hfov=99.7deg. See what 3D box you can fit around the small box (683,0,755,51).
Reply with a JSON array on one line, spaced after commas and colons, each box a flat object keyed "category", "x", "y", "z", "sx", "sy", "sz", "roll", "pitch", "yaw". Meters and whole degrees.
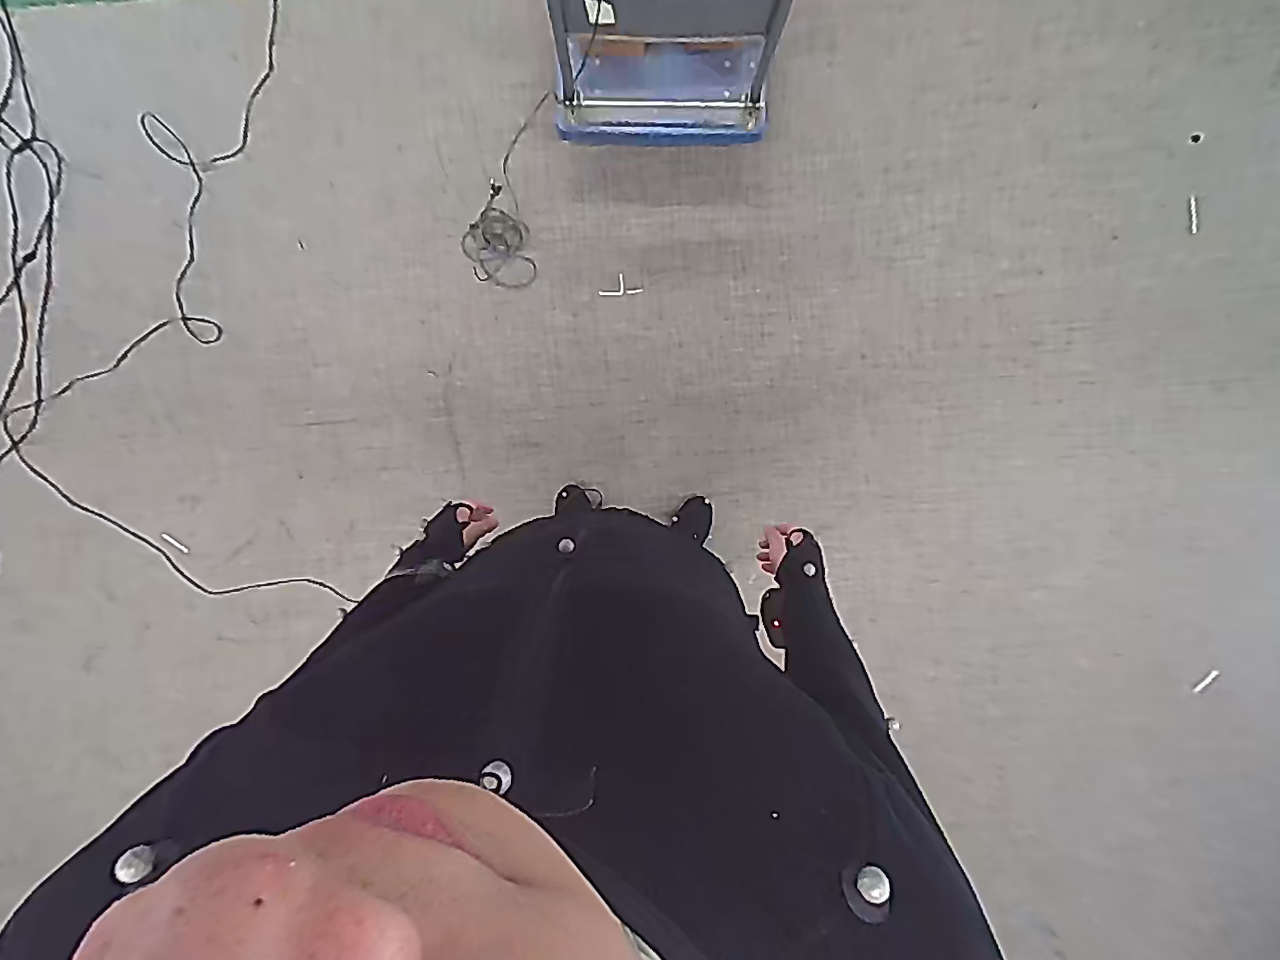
[{"category": "small box", "x": 0.199, "y": -1.244, "z": 1.372, "sx": 0.168, "sy": 0.176, "sz": 0.179, "roll": 2, "pitch": 92, "yaw": 1}]
